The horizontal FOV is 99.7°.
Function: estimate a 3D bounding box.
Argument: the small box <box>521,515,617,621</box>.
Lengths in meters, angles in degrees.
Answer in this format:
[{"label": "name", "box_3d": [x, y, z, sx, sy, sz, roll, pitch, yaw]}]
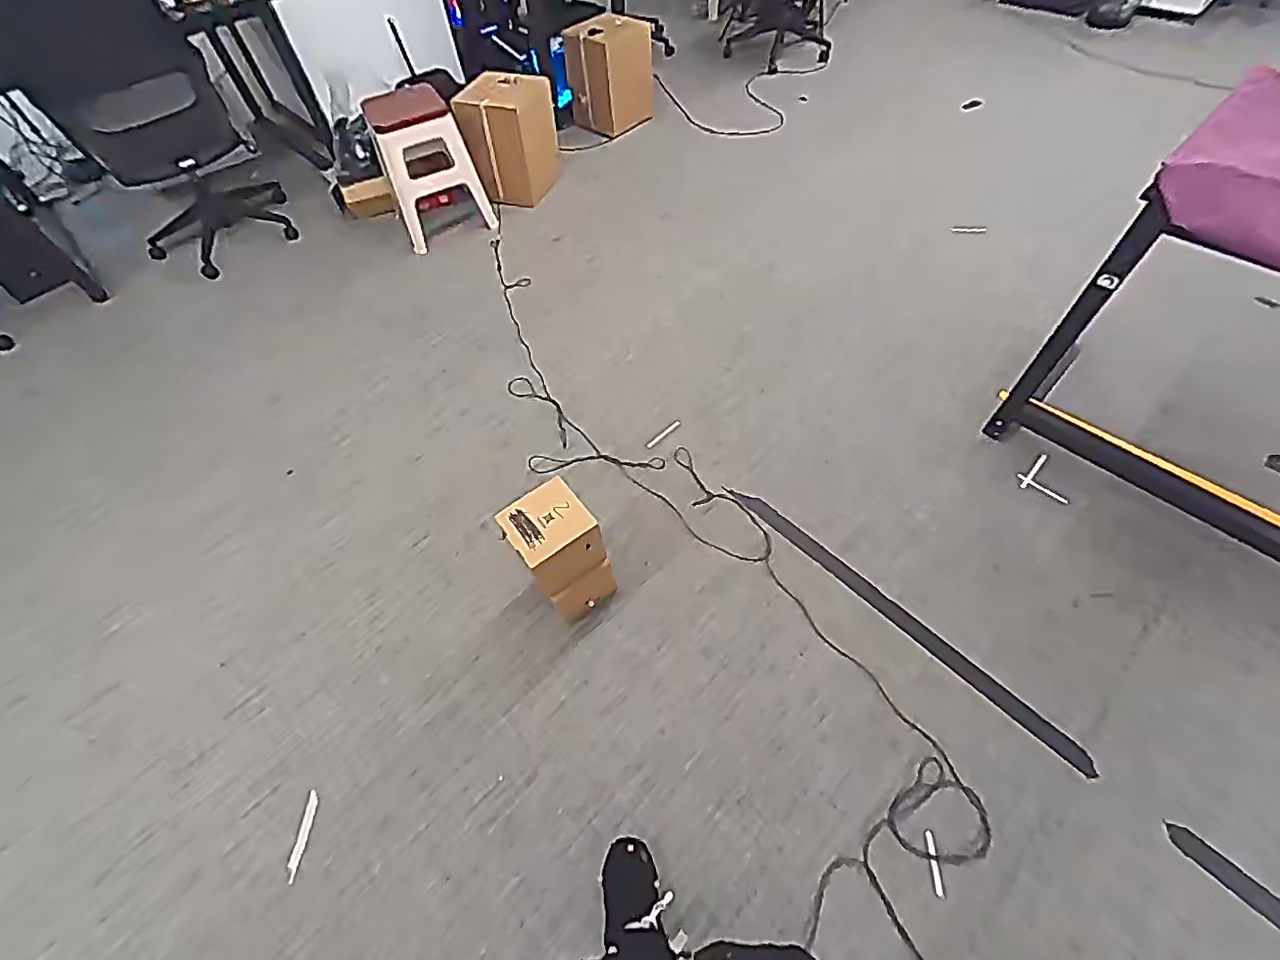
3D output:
[{"label": "small box", "box_3d": [-0.175, 0.229, 1.378, 0.168, 0.176, 0.179, -34, 62, -17]}]
